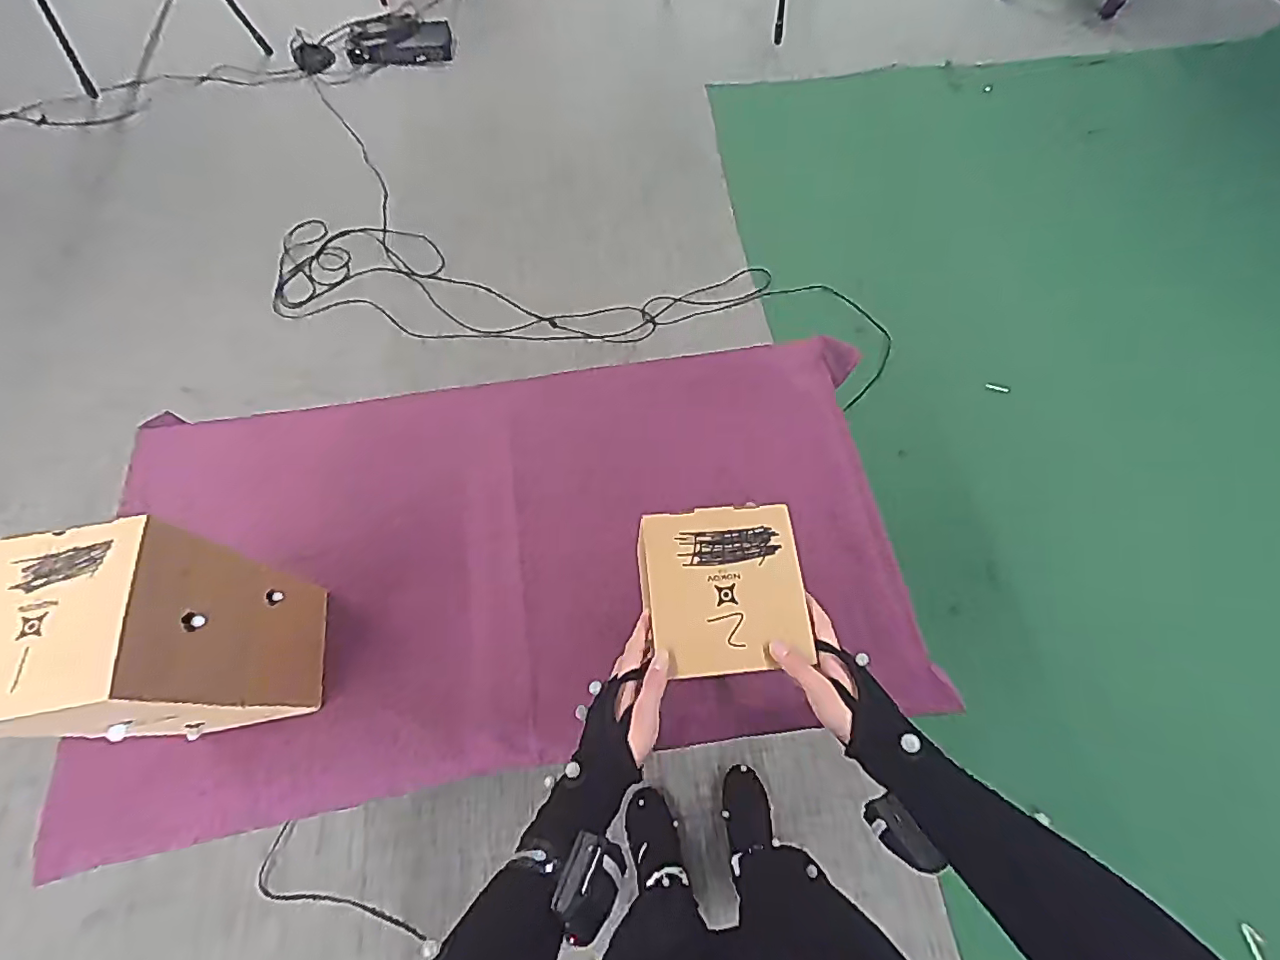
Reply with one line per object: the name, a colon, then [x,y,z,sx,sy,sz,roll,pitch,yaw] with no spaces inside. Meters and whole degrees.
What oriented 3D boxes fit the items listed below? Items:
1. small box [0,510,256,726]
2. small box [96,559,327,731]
small box: [-0.542,0.151,0.564,0.168,0.176,0.179,-9,67,-3]
small box: [-0.540,0.221,0.713,0.168,0.176,0.179,-10,66,-4]
